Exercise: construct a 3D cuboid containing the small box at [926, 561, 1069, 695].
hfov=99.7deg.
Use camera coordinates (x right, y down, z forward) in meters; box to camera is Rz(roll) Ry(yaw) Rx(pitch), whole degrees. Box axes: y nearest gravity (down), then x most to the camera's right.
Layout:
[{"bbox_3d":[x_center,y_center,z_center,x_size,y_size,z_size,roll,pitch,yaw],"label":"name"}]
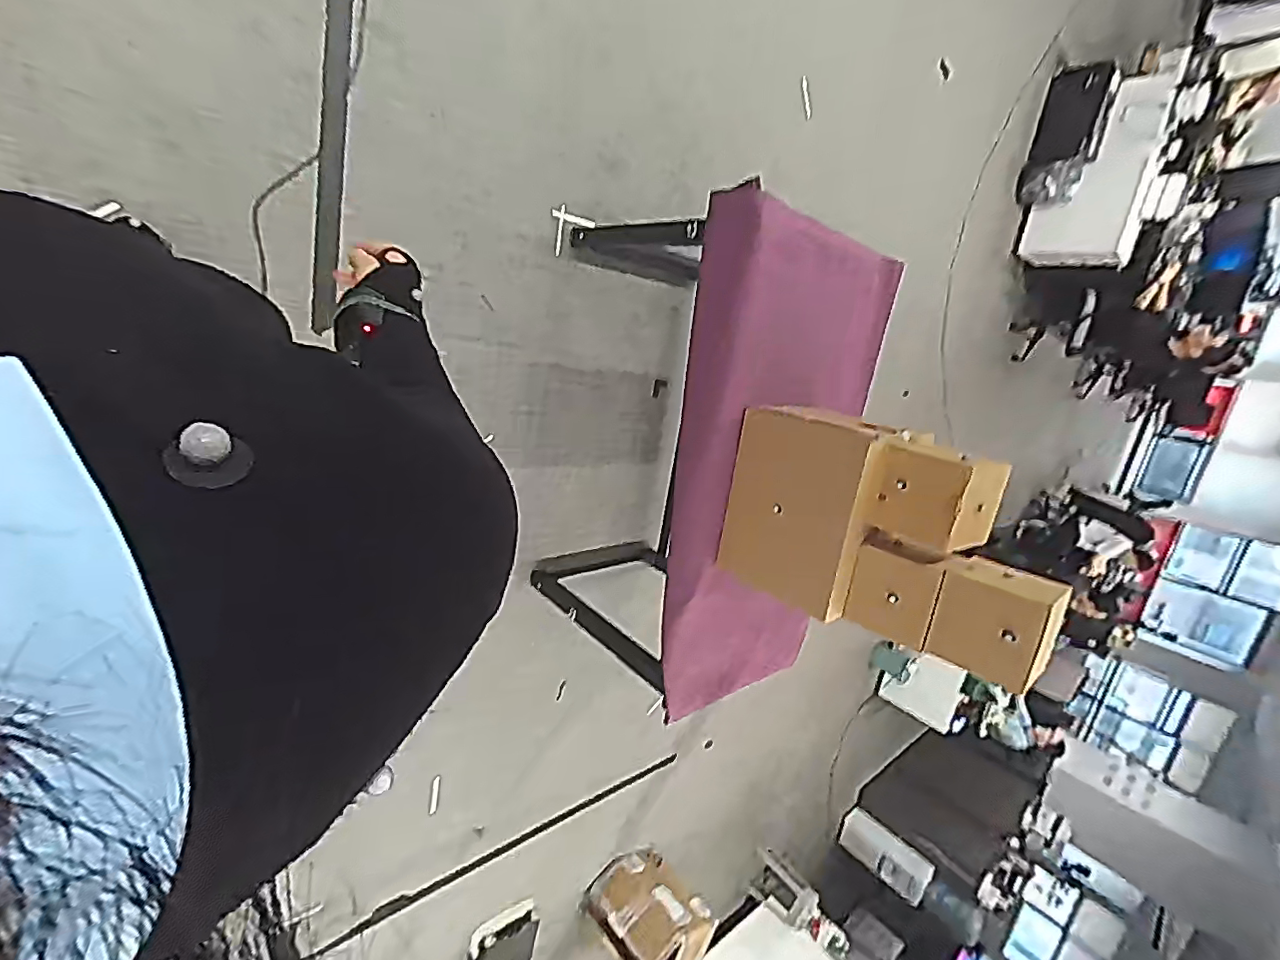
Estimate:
[{"bbox_3d":[0.667,0.263,1.019,0.168,0.176,0.179,-3,108,-42],"label":"small box"}]
